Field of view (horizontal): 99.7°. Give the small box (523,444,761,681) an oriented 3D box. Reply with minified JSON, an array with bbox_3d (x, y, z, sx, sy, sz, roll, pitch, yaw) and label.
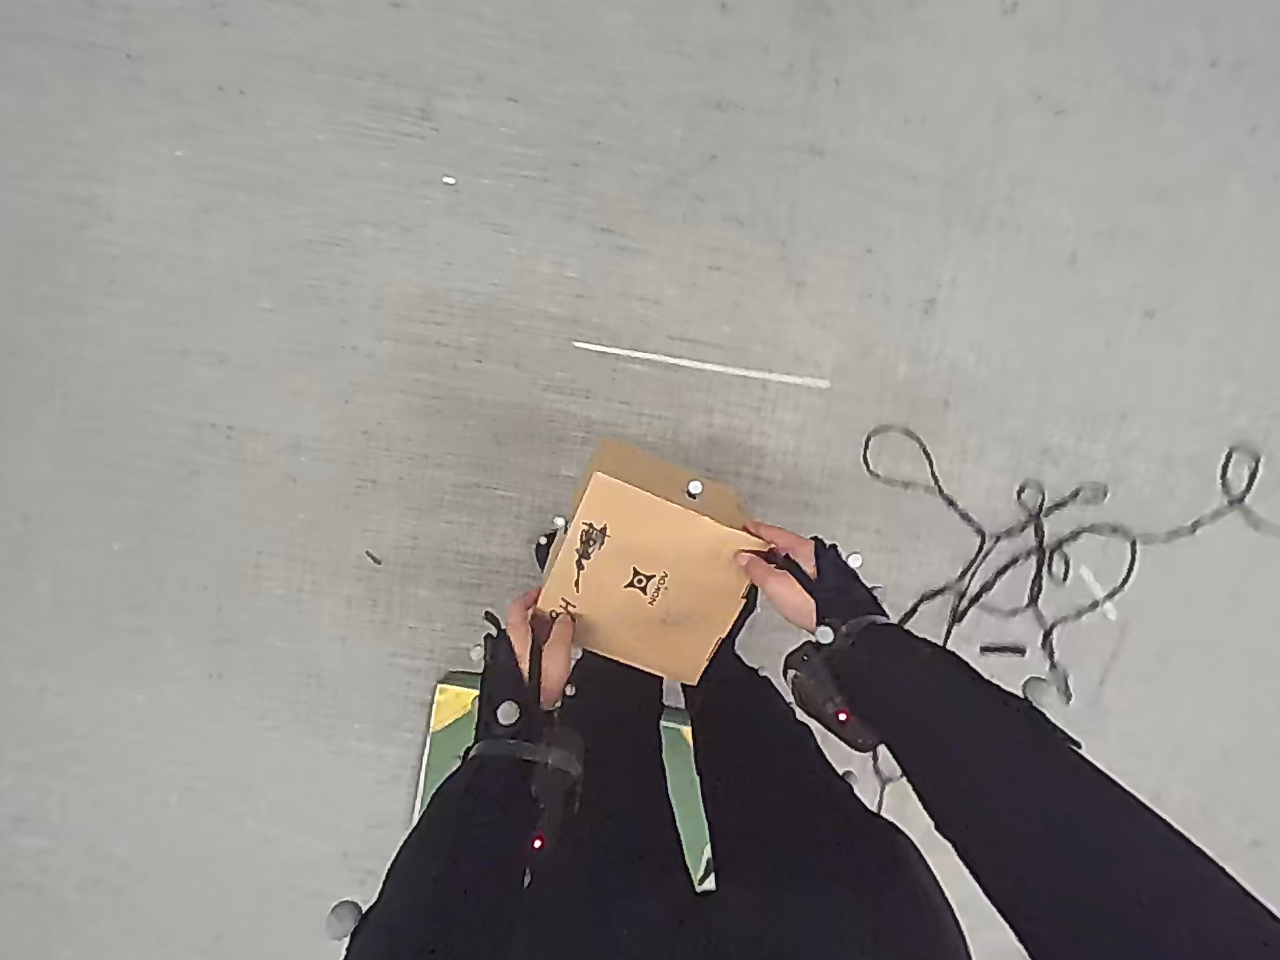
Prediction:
[{"bbox_3d":[-0.003,0.074,0.574,0.179,0.176,0.168,22,102,-8],"label":"small box"}]
